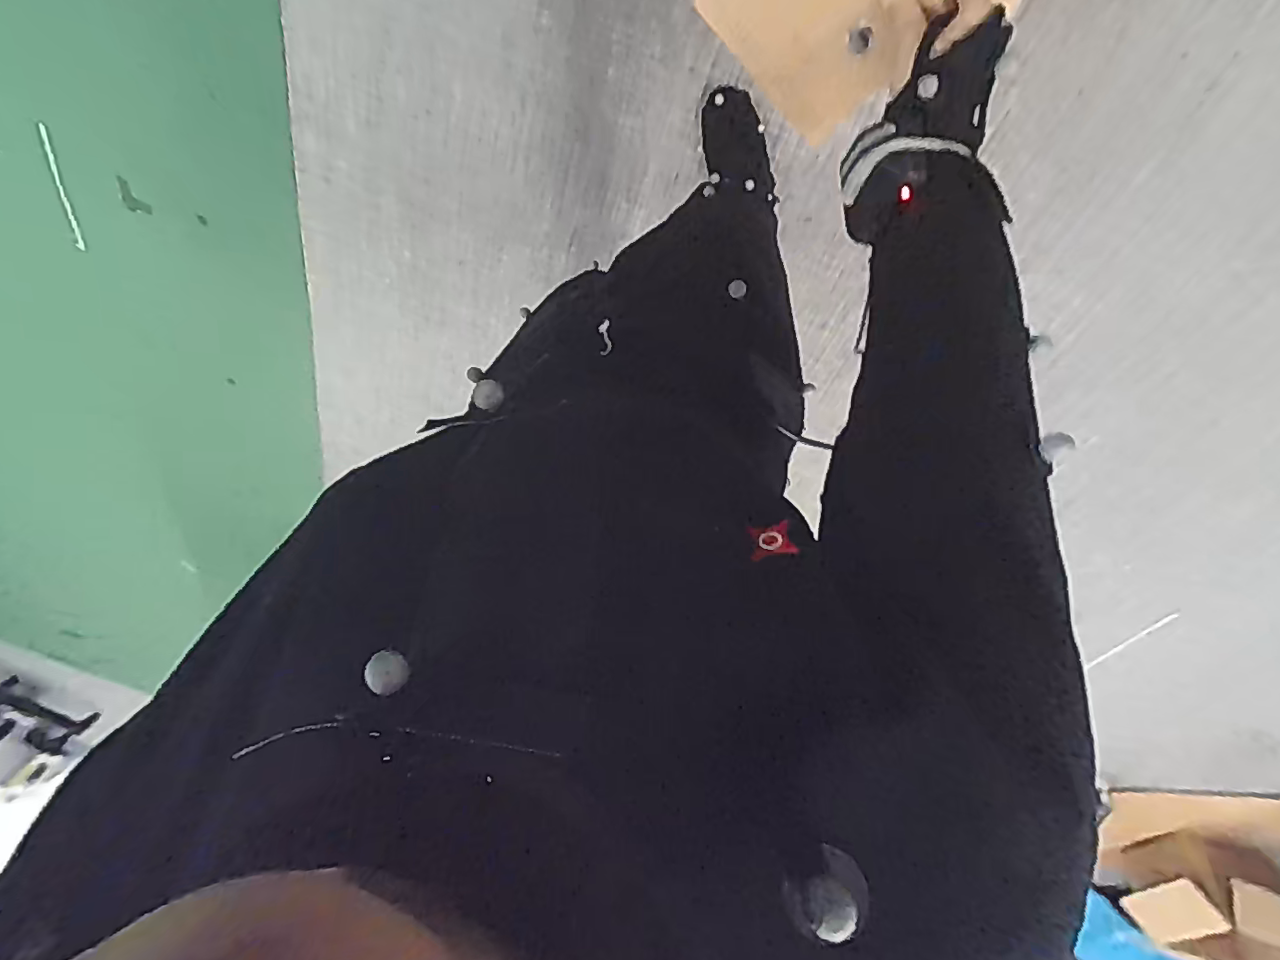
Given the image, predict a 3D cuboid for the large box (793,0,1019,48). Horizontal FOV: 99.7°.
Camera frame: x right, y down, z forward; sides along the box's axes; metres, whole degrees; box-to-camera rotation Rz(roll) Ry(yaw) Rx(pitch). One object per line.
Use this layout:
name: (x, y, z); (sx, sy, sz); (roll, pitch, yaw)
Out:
large box: (0.317, -0.803, 0.687); (0.408, 0.320, 0.320); (19, 130, -2)
